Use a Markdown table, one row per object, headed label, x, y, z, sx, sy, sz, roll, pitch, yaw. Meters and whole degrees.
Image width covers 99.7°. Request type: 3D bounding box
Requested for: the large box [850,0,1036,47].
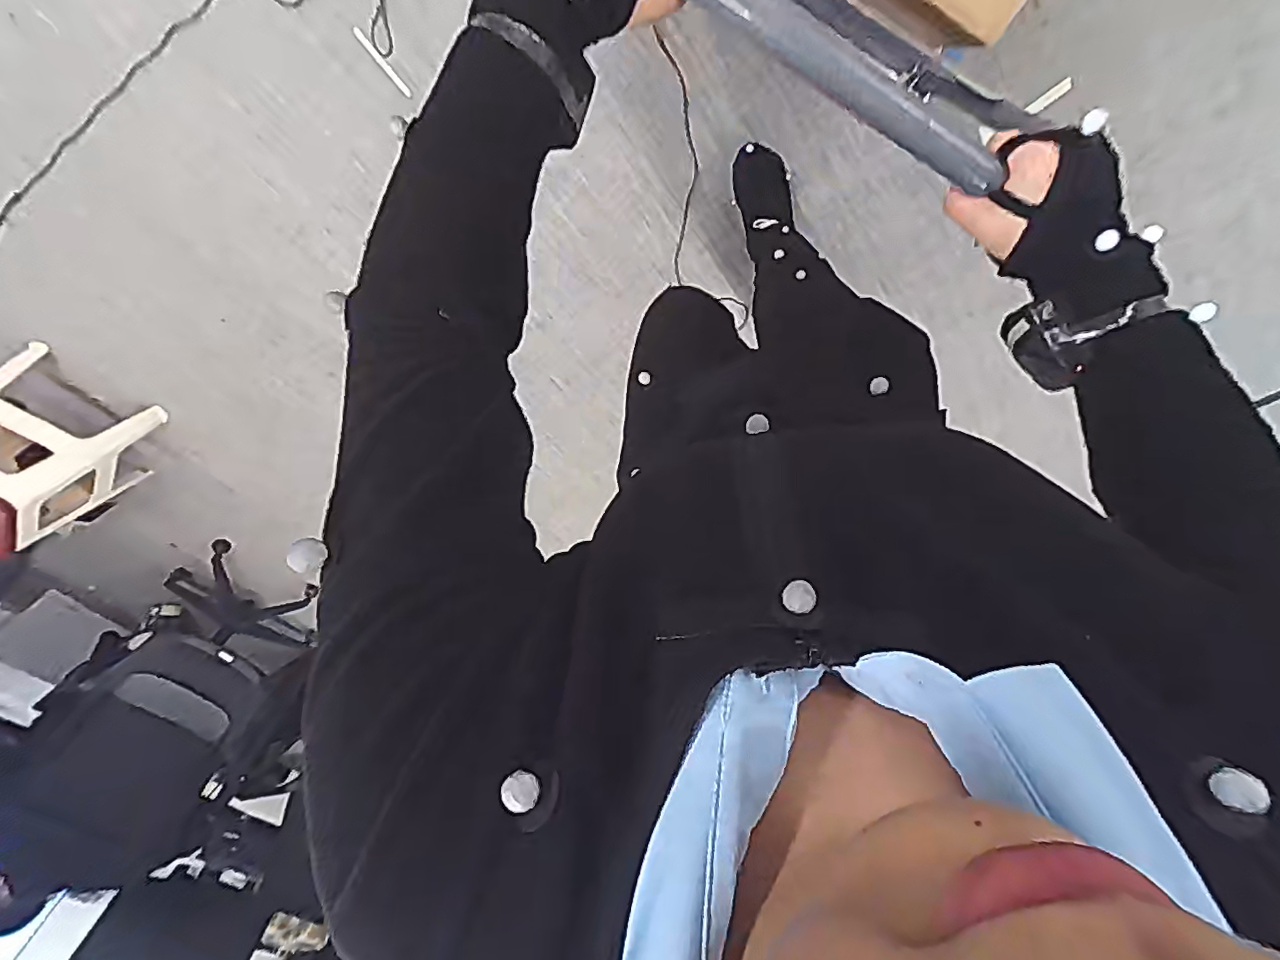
| label | x | y | z | sx | sy | sz | roll | pitch | yaw |
| --- | --- | --- | --- | --- | --- | --- | --- | --- | --- |
| large box | 0.318 | -0.771 | 0.608 | 0.408 | 0.320 | 0.320 | 24 | 128 | -13 |
